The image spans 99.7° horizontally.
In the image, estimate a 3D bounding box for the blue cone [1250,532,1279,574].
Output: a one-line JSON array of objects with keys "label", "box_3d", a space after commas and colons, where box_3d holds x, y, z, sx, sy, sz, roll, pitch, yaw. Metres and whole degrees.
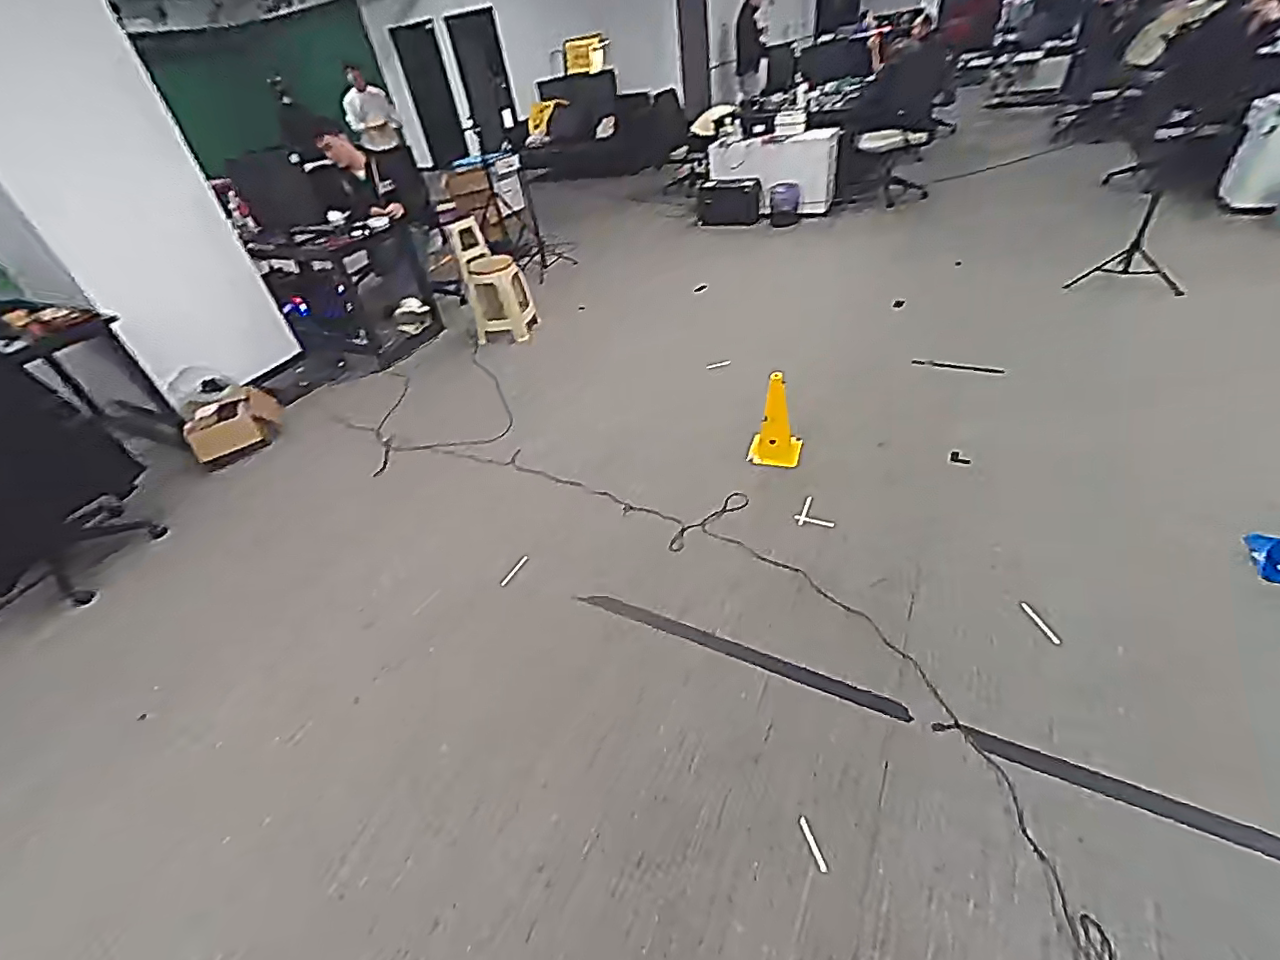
[{"label": "blue cone", "box_3d": [1.856, 0.093, 1.429, 0.193, 0.380, 0.192, 13, 43, 26]}]
